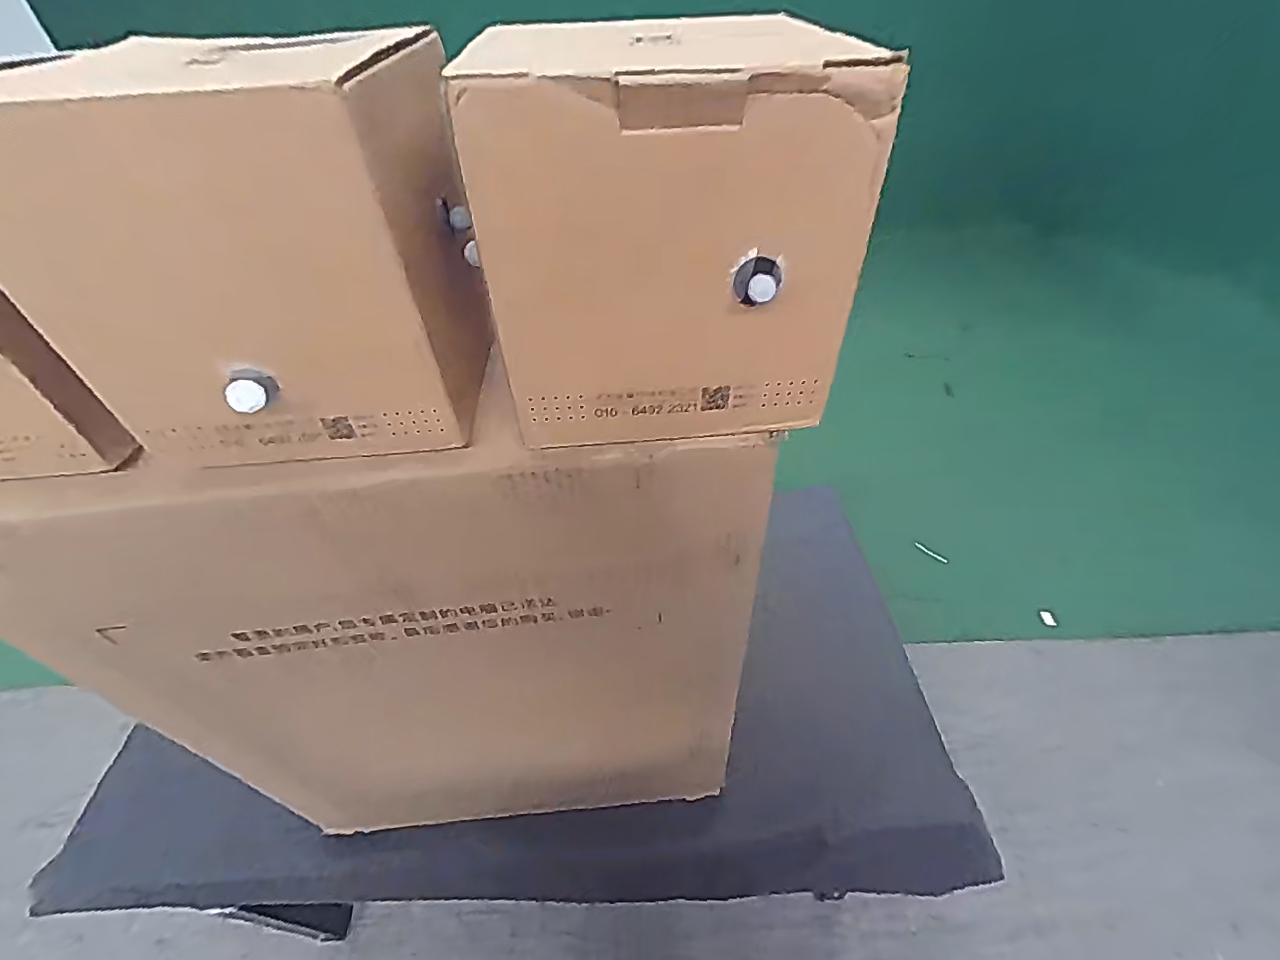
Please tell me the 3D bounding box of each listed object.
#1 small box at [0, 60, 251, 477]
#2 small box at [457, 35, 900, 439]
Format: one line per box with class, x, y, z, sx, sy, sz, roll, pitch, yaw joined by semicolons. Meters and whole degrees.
small box;-0.372;-0.112;0.305;0.168;0.176;0.179;-5;44;0
small box;0.010;-0.134;0.307;0.168;0.176;0.179;-3;43;-4
